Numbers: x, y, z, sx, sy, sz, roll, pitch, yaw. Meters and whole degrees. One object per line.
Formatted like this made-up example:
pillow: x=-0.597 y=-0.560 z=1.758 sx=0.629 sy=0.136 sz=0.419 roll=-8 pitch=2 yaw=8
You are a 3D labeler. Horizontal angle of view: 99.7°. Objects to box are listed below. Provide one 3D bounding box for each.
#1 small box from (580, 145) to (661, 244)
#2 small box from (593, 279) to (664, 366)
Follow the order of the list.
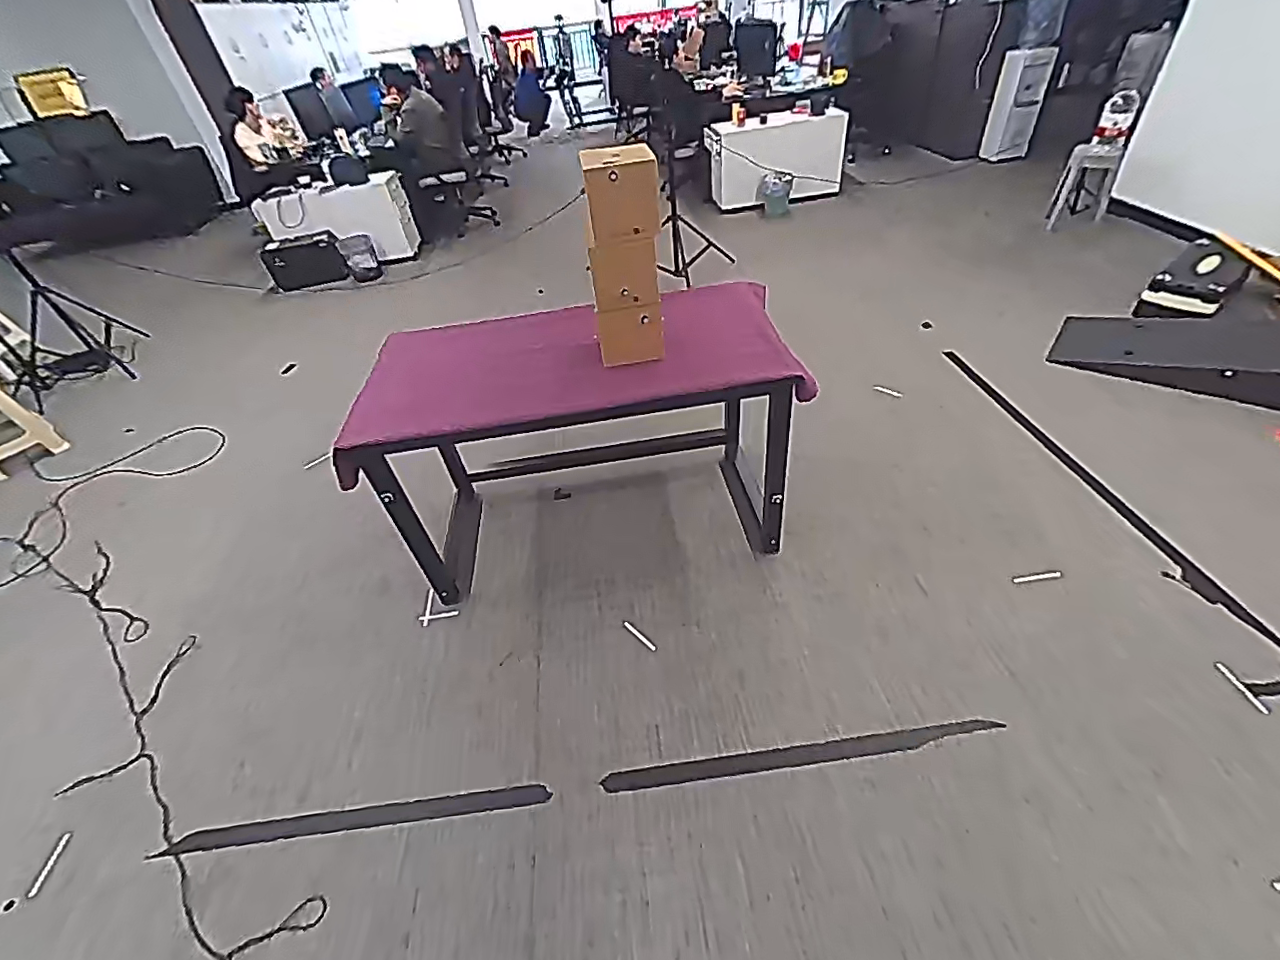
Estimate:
small box: x=-0.047 y=-0.686 z=1.301 sx=0.168 sy=0.176 sz=0.179 roll=-10 pitch=42 yaw=-2
small box: x=-0.031 y=-0.441 z=1.520 sx=0.179 sy=0.176 sz=0.168 roll=-10 pitch=41 yaw=-1
